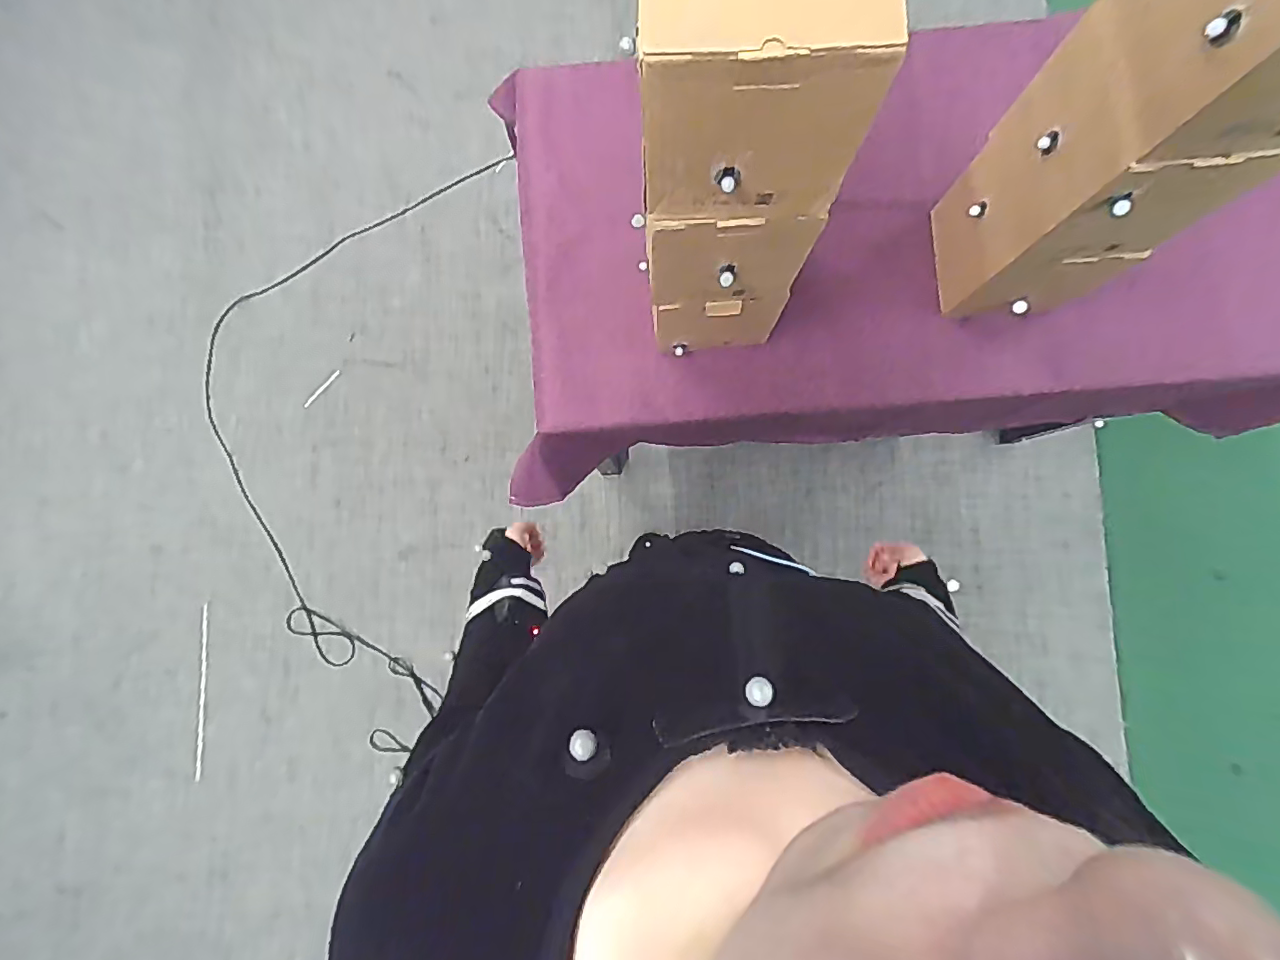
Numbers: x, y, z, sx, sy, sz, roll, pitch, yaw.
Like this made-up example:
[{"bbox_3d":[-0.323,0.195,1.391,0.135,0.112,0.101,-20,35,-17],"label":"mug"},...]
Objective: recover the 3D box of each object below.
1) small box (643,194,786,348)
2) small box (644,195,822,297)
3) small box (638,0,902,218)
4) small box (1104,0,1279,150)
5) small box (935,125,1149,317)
[{"bbox_3d":[0.096,-0.293,0.748,0.168,0.176,0.179,-5,83,1],"label":"small box"},{"bbox_3d":[0.087,-0.311,0.585,0.168,0.176,0.179,-3,85,1],"label":"small box"},{"bbox_3d":[0.081,-0.335,0.423,0.168,0.176,0.179,-1,84,2],"label":"small box"},{"bbox_3d":[0.512,-0.383,0.412,0.168,0.176,0.179,-5,83,1],"label":"small box"},{"bbox_3d":[0.527,-0.340,0.736,0.168,0.176,0.179,-2,84,2],"label":"small box"}]
